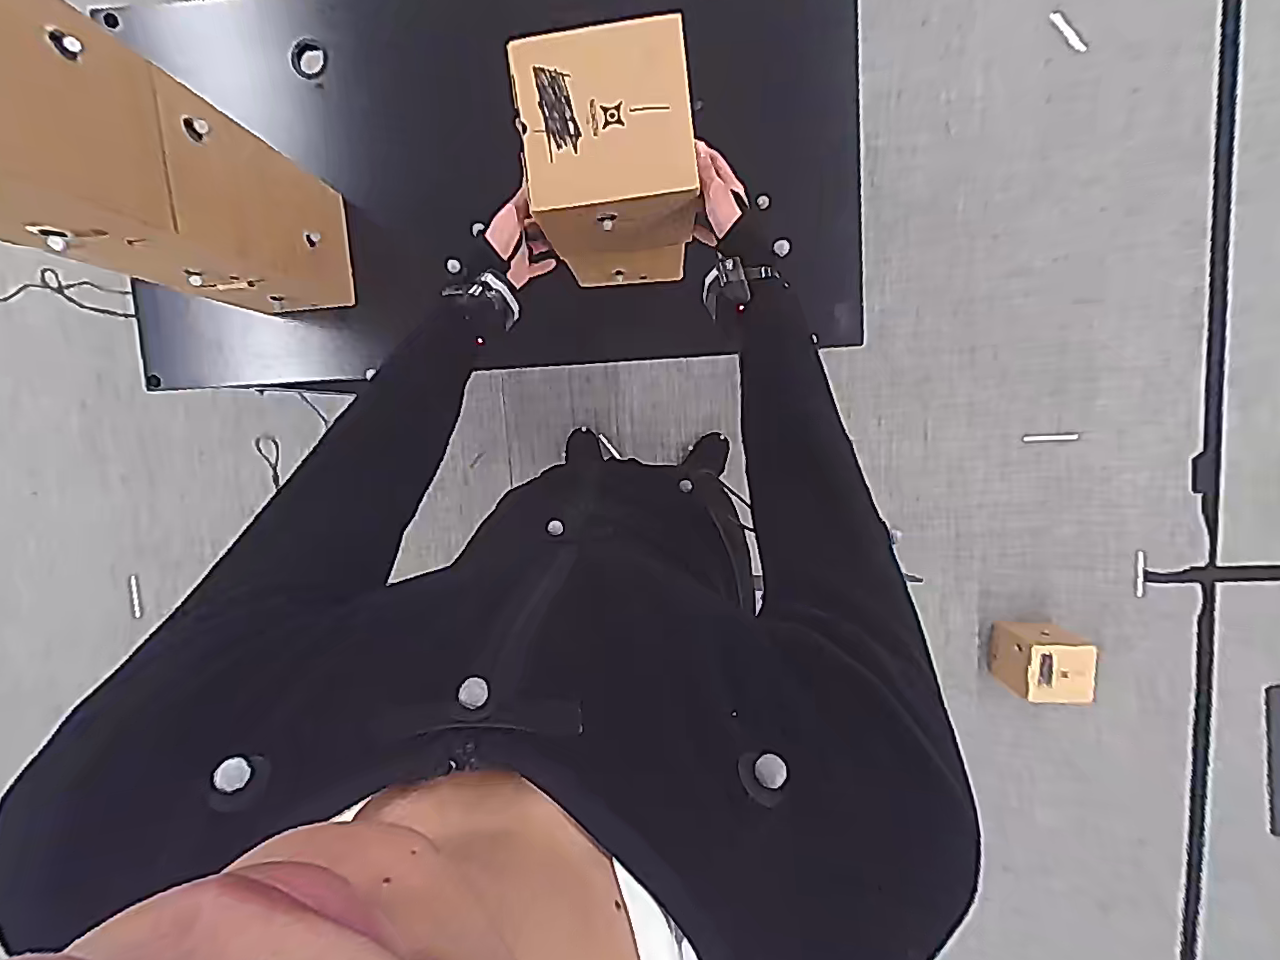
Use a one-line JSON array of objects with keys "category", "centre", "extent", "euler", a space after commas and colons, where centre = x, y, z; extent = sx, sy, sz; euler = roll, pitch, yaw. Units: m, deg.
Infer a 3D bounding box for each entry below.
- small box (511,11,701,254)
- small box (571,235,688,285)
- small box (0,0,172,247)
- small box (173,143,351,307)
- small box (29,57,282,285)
[{"category": "small box", "centre": [-0.029, -0.369, 0.610], "extent": [0.179, 0.176, 0.168], "euler": [-6, 96, 3]}, {"category": "small box", "centre": [-0.021, -0.394, 0.772], "extent": [0.168, 0.176, 0.179], "euler": [-3, 96, 3]}, {"category": "small box", "centre": [-0.569, -0.326, 0.474], "extent": [0.168, 0.176, 0.179], "euler": [-4, 96, 4]}, {"category": "small box", "centre": [-0.556, -0.360, 0.800], "extent": [0.168, 0.176, 0.179], "euler": [-5, 96, 3]}, {"category": "small box", "centre": [-0.563, -0.344, 0.636], "extent": [0.168, 0.176, 0.179], "euler": [-4, 96, 4]}]
